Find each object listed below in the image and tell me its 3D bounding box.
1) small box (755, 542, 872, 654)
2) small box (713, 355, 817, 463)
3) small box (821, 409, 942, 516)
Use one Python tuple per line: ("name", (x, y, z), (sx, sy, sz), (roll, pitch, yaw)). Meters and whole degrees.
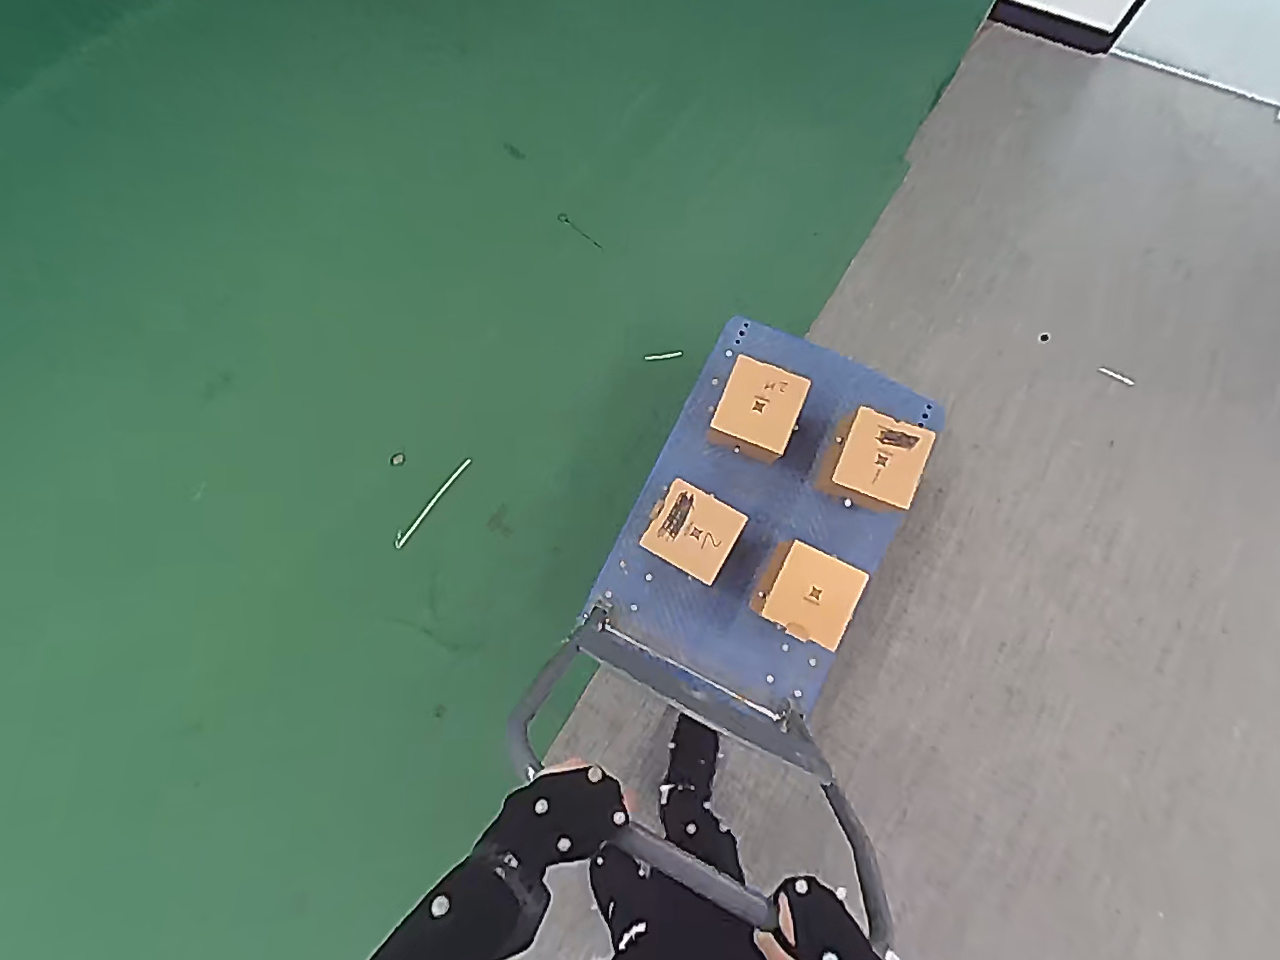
("small box", (0.365, 0.245, 1.173), (0.168, 0.176, 0.179), (27, 87, 6))
("small box", (0.273, -0.151, 1.223), (0.168, 0.176, 0.179), (24, 86, 5))
("small box", (0.520, -0.032, 1.193), (0.168, 0.176, 0.179), (23, 86, 7))
